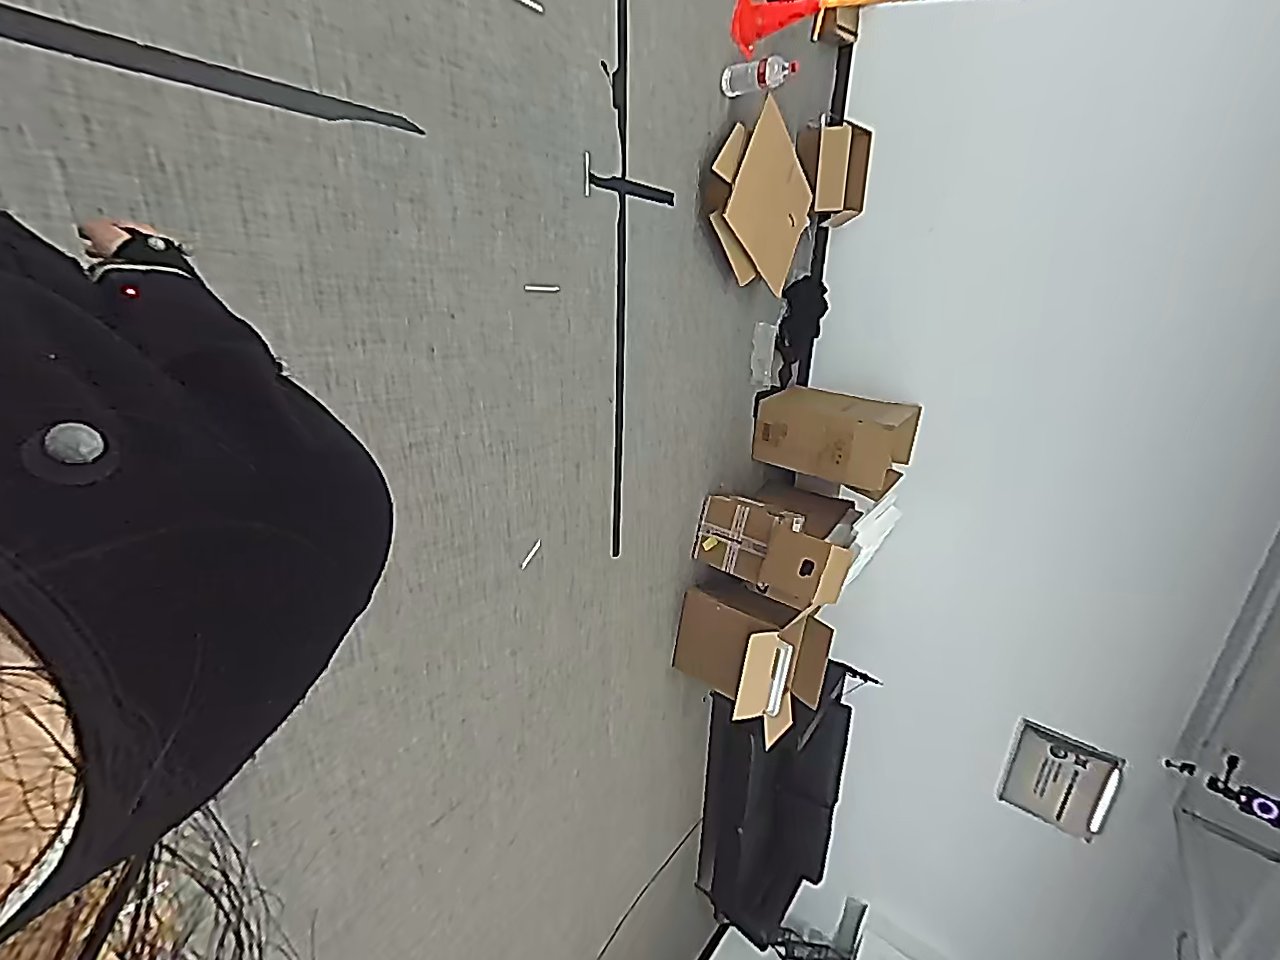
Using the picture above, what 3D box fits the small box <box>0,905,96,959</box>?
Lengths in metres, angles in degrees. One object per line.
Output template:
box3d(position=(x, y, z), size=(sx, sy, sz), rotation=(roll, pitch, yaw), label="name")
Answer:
box3d(position=(-1.052, 0.891, 0.918), size=(0.179, 0.176, 0.168), rotation=(-22, 119, -46), label="small box")
